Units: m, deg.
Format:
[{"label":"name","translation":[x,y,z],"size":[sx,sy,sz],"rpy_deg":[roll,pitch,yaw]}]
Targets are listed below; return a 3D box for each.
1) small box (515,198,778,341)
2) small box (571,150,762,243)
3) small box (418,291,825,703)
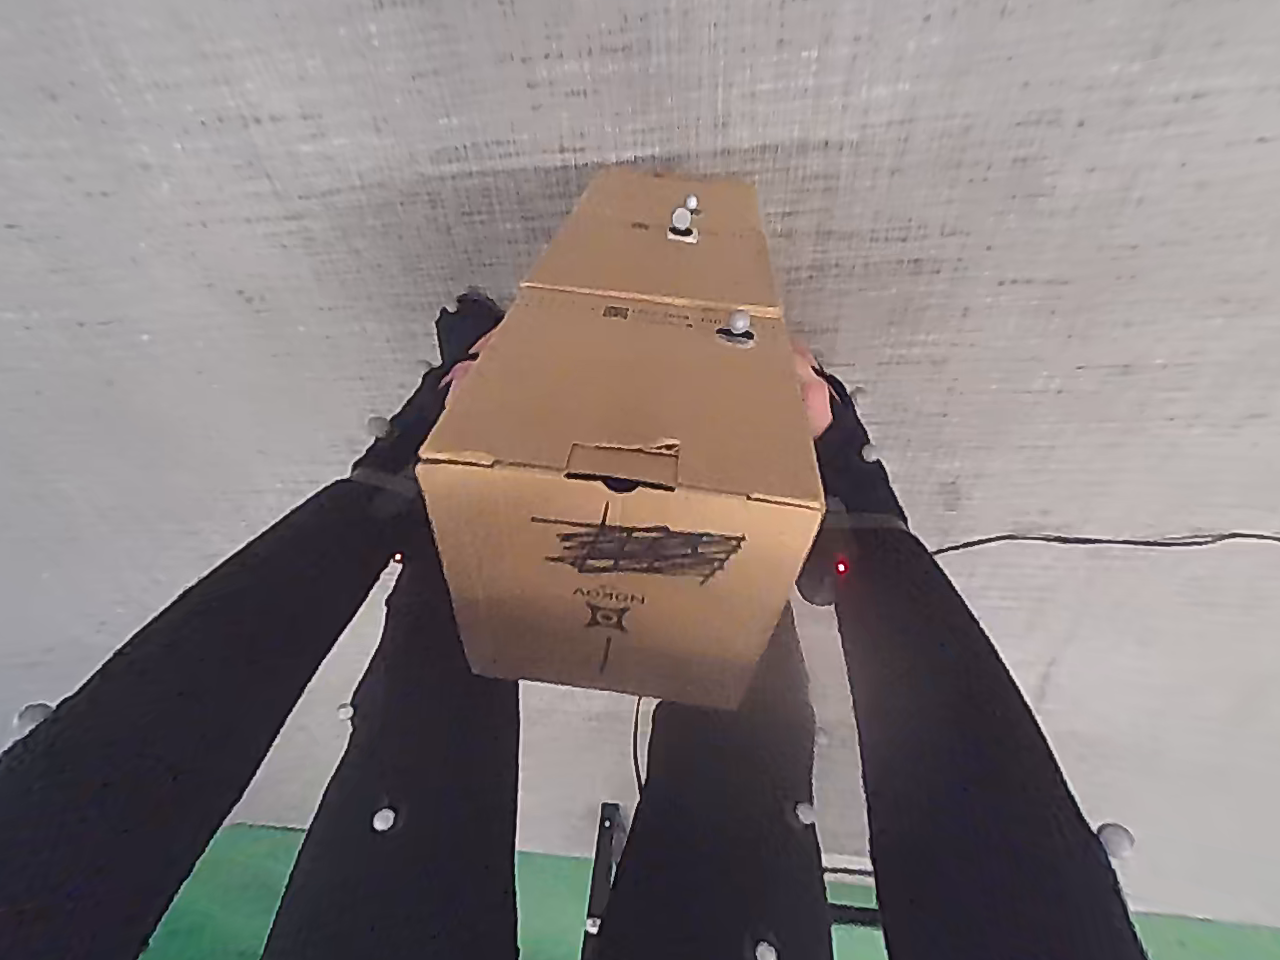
[{"label":"small box","translation":[0.008,-0.107,0.442],"size":[0.168,0.176,0.179],"rpy_deg":[6,132,3]},{"label":"small box","translation":[0.026,-0.216,0.562],"size":[0.168,0.176,0.179],"rpy_deg":[8,133,2]},{"label":"small box","translation":[-0.007,0.007,0.326],"size":[0.168,0.176,0.179],"rpy_deg":[8,134,2]}]
